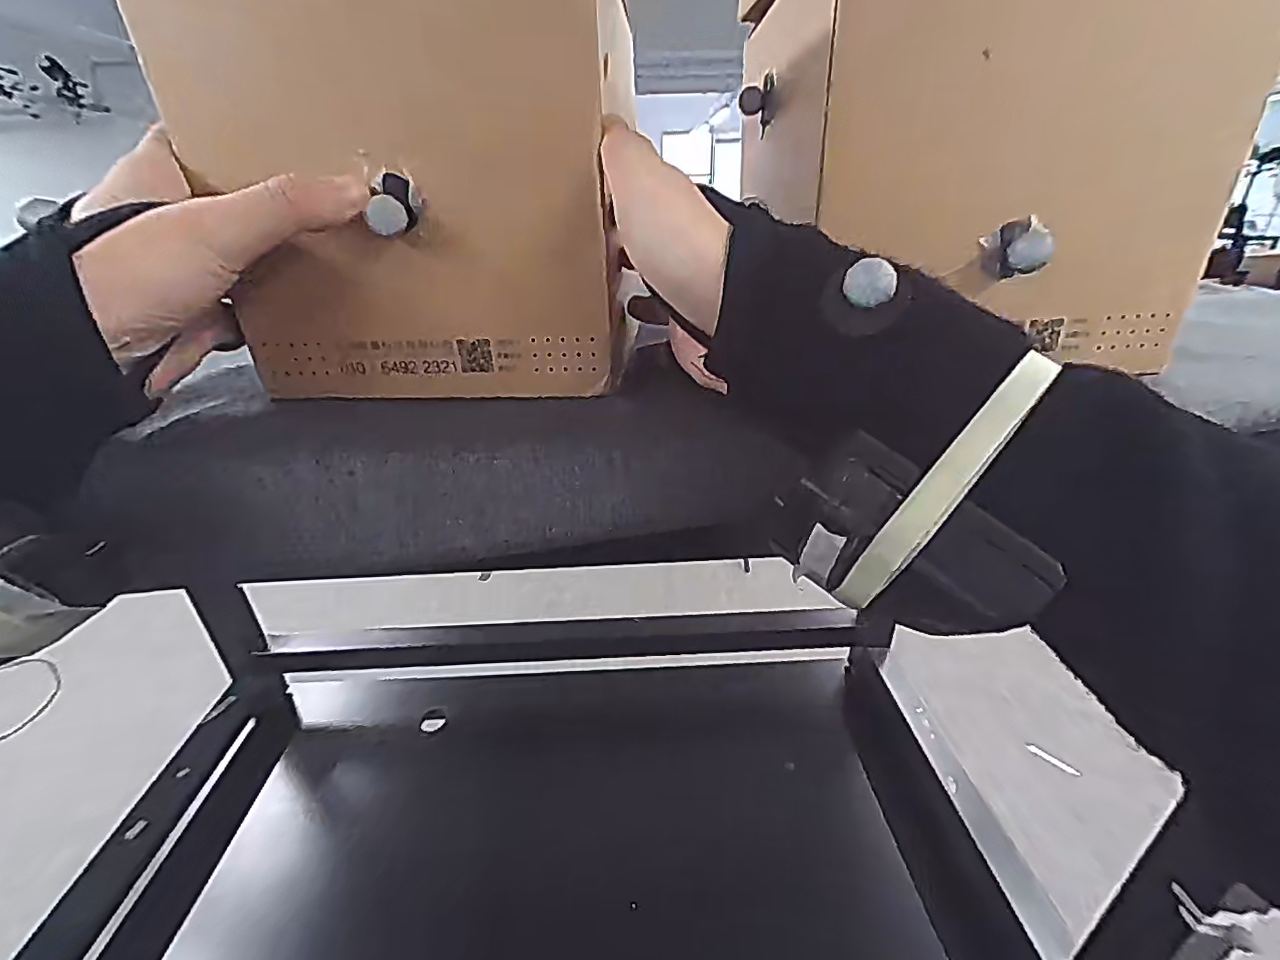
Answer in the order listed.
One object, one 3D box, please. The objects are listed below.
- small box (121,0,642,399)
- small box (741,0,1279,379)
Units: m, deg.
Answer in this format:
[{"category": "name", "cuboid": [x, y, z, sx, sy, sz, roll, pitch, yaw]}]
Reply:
[{"category": "small box", "cuboid": [-0.087, -0.147, 0.282, 0.168, 0.176, 0.179, 0, 29, 4]}, {"category": "small box", "cuboid": [0.150, -0.156, 0.288, 0.168, 0.176, 0.179, -3, 26, 0]}]
